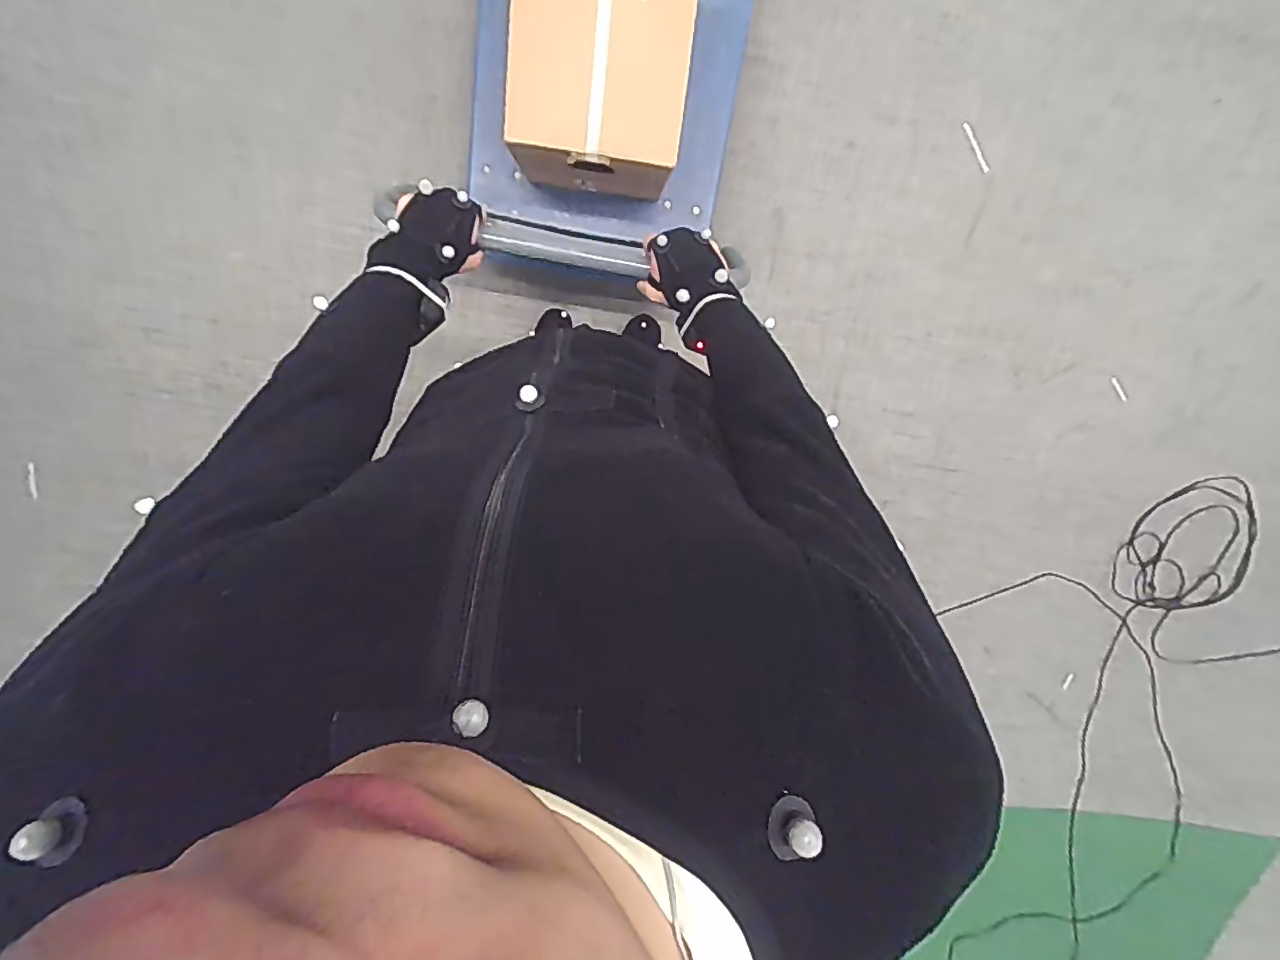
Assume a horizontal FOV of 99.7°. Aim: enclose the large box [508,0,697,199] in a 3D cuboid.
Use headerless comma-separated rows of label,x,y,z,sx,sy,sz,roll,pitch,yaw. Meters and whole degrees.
large box,-0.070,-0.818,1.069,0.320,0.320,0.408,6,107,-5
